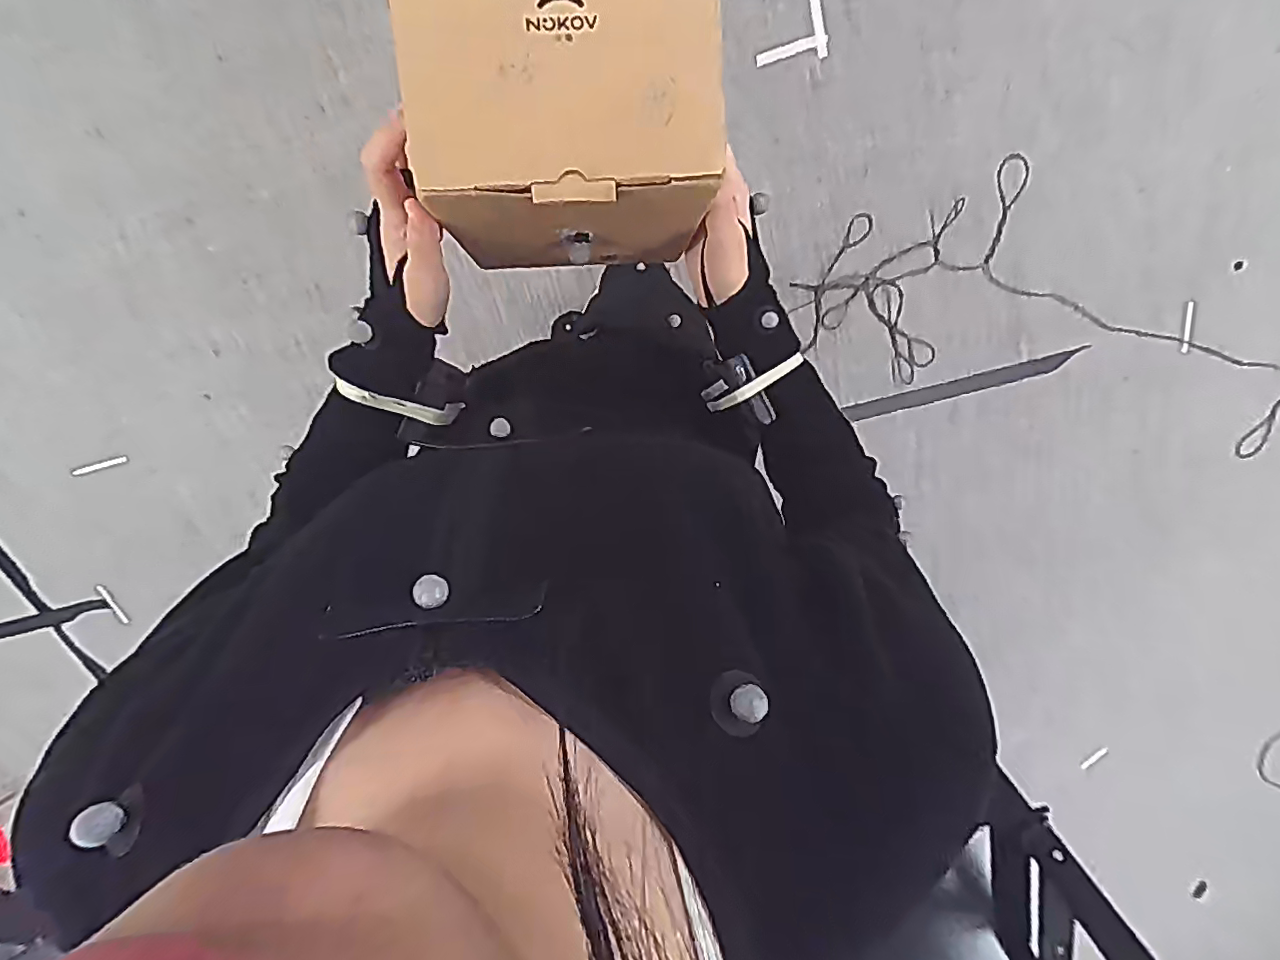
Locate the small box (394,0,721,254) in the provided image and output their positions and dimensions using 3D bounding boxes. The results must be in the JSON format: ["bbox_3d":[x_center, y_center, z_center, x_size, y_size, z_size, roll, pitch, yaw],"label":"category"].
[{"bbox_3d":[-0.046,-0.254,0.350,0.168,0.176,0.179,-4,99,-4],"label":"small box"}]
